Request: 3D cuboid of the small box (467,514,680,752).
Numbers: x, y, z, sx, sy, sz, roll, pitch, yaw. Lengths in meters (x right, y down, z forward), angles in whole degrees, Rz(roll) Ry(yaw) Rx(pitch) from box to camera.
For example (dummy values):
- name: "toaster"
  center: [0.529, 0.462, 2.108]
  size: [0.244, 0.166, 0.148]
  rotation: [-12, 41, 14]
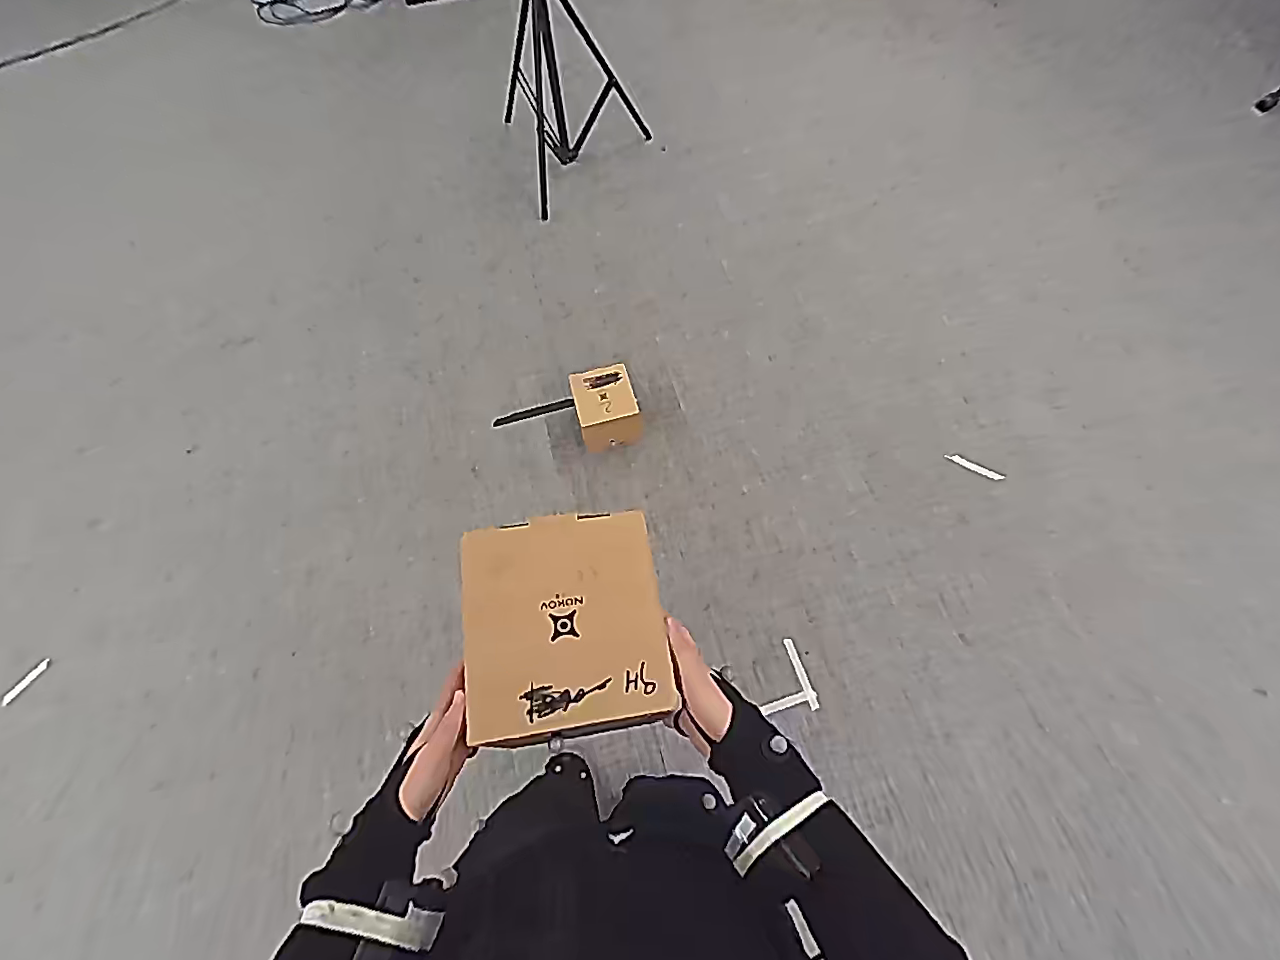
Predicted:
- name: "small box"
  center: [-0.067, 0.152, 0.521]
  size: [0.168, 0.176, 0.179]
  rotation: [-7, 63, -7]
